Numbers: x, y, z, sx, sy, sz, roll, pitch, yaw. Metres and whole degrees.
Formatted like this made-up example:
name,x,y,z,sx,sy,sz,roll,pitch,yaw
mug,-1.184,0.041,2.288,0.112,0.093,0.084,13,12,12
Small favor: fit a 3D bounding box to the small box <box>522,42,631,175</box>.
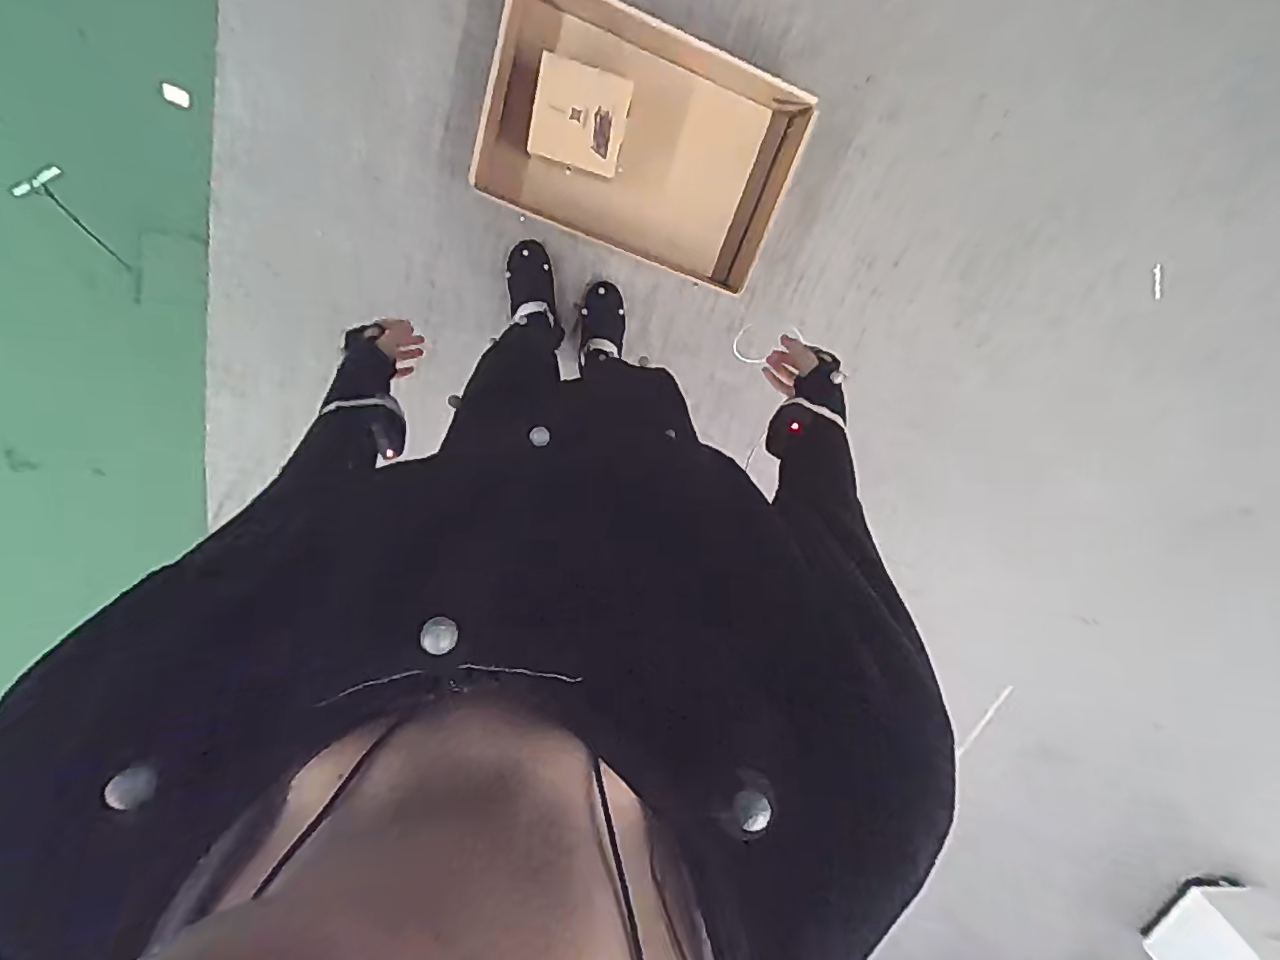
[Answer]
name,x,y,z,sx,sy,sz,roll,pitch,yaw
small box,-0.122,-0.729,1.084,0.179,0.176,0.168,15,113,-7
